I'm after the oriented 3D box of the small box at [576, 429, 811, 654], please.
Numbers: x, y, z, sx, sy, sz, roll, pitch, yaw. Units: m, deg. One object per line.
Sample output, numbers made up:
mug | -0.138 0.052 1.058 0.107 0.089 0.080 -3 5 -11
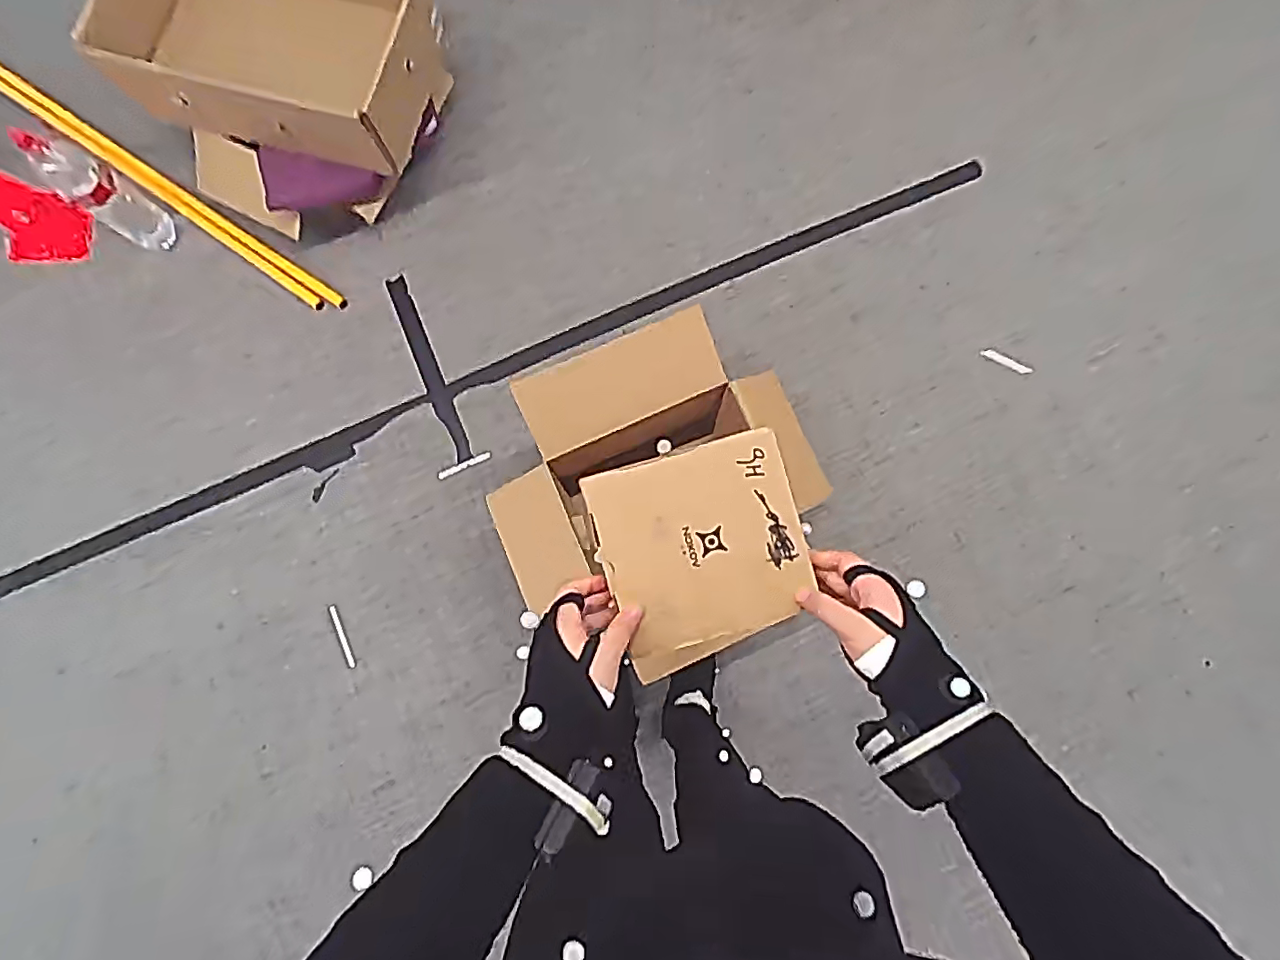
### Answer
small box | 0.050 0.055 0.555 0.179 0.176 0.168 -16 91 1
